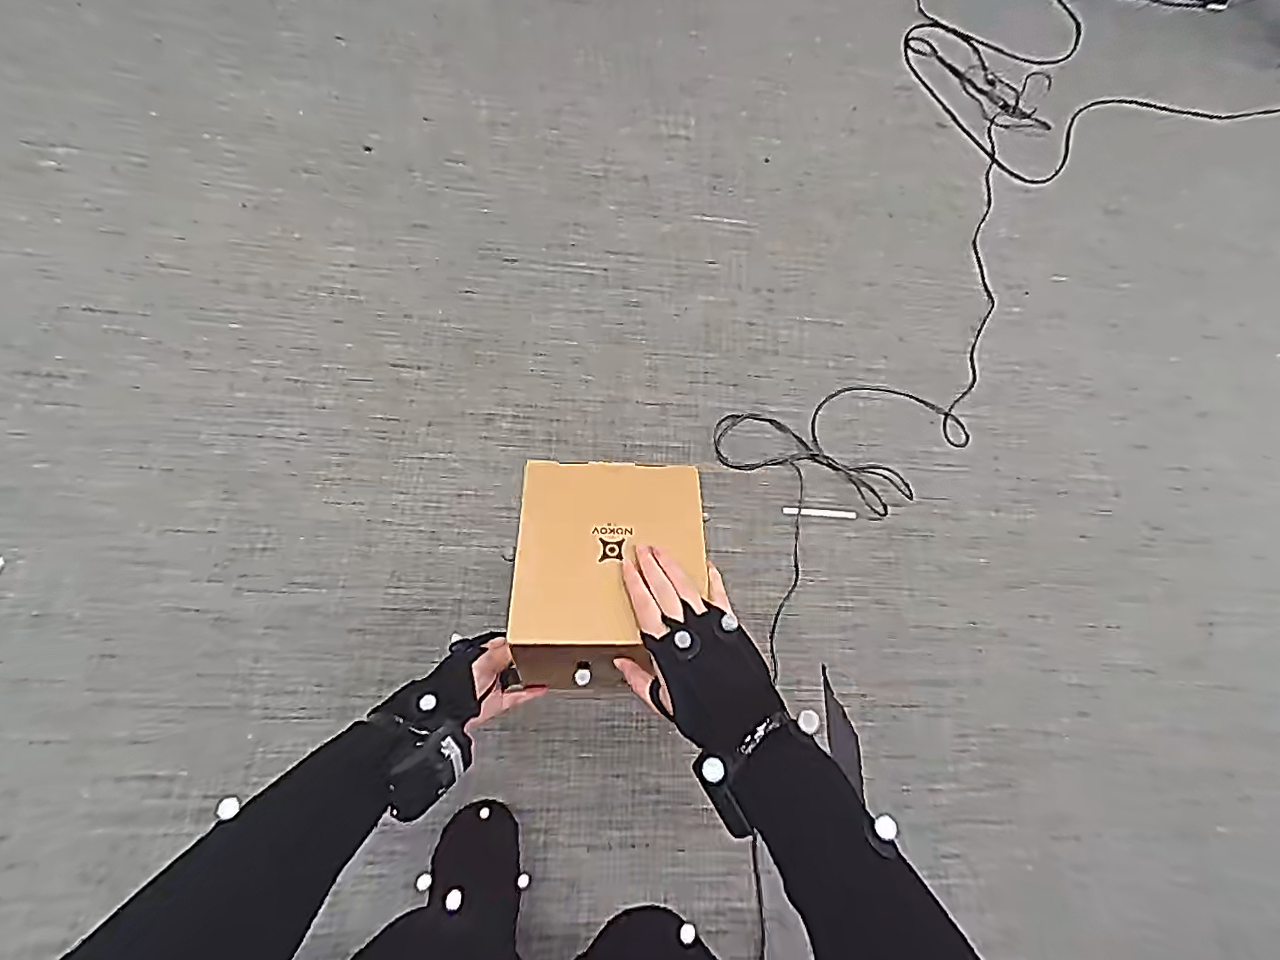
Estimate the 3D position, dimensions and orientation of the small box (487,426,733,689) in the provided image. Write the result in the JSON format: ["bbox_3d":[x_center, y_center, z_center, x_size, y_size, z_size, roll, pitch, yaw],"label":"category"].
[{"bbox_3d":[-0.022,0.069,0.517,0.179,0.176,0.168,-13,38,6],"label":"small box"}]
